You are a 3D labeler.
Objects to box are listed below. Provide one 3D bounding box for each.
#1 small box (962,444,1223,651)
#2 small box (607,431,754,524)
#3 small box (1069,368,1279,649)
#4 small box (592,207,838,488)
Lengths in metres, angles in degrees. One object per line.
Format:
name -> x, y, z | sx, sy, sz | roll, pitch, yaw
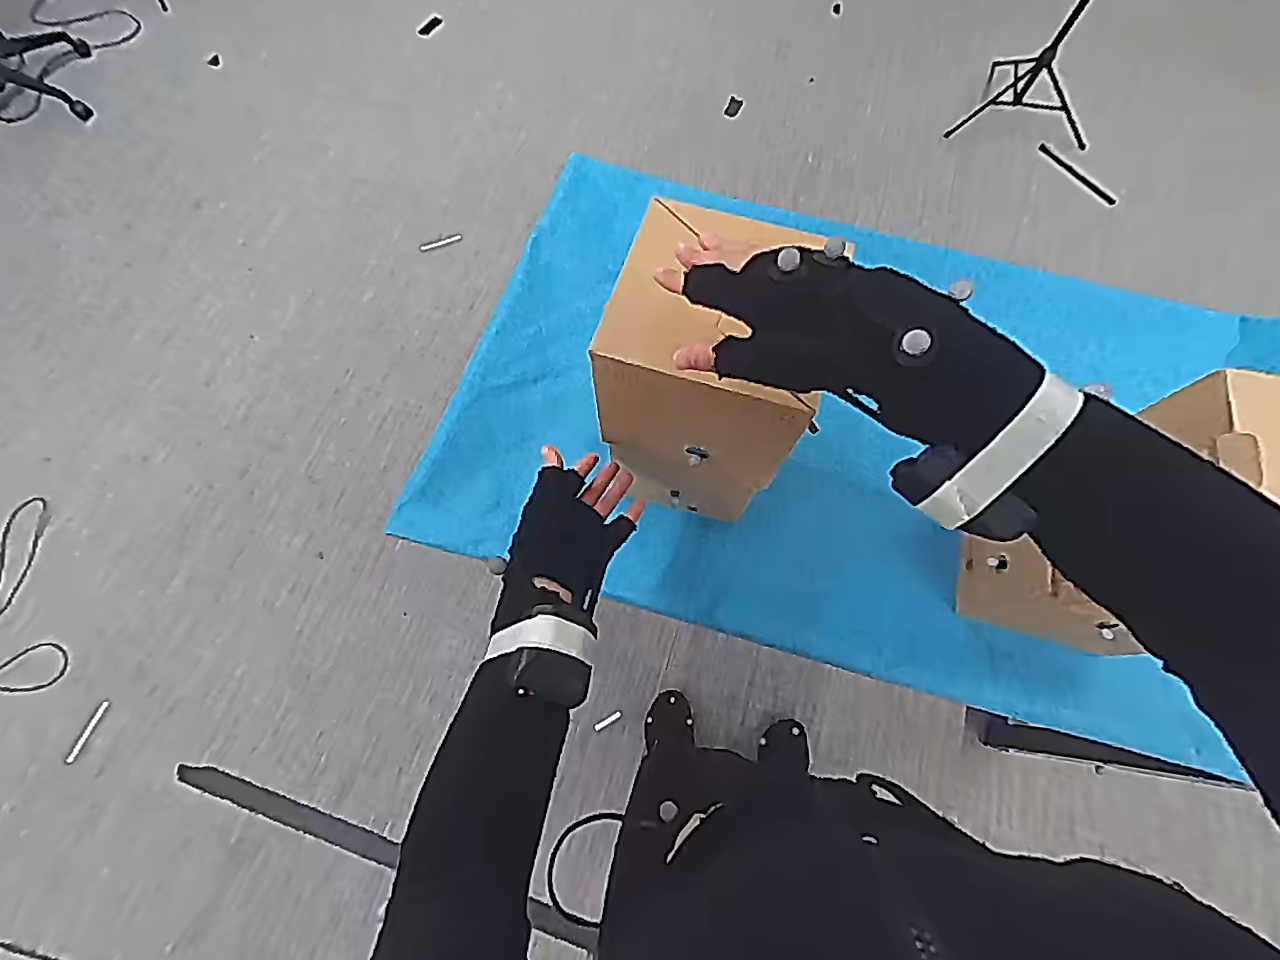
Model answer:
small box -> 0.488, 0.084, 0.597 | 0.179, 0.176, 0.168 | 15, 71, 6
small box -> 0.069, -0.067, 0.659 | 0.168, 0.176, 0.179 | 17, 73, 8
small box -> 0.492, 0.036, 0.442 | 0.179, 0.176, 0.168 | 12, 70, 4
small box -> 0.067, -0.113, 0.498 | 0.179, 0.176, 0.168 | 17, 71, 6
